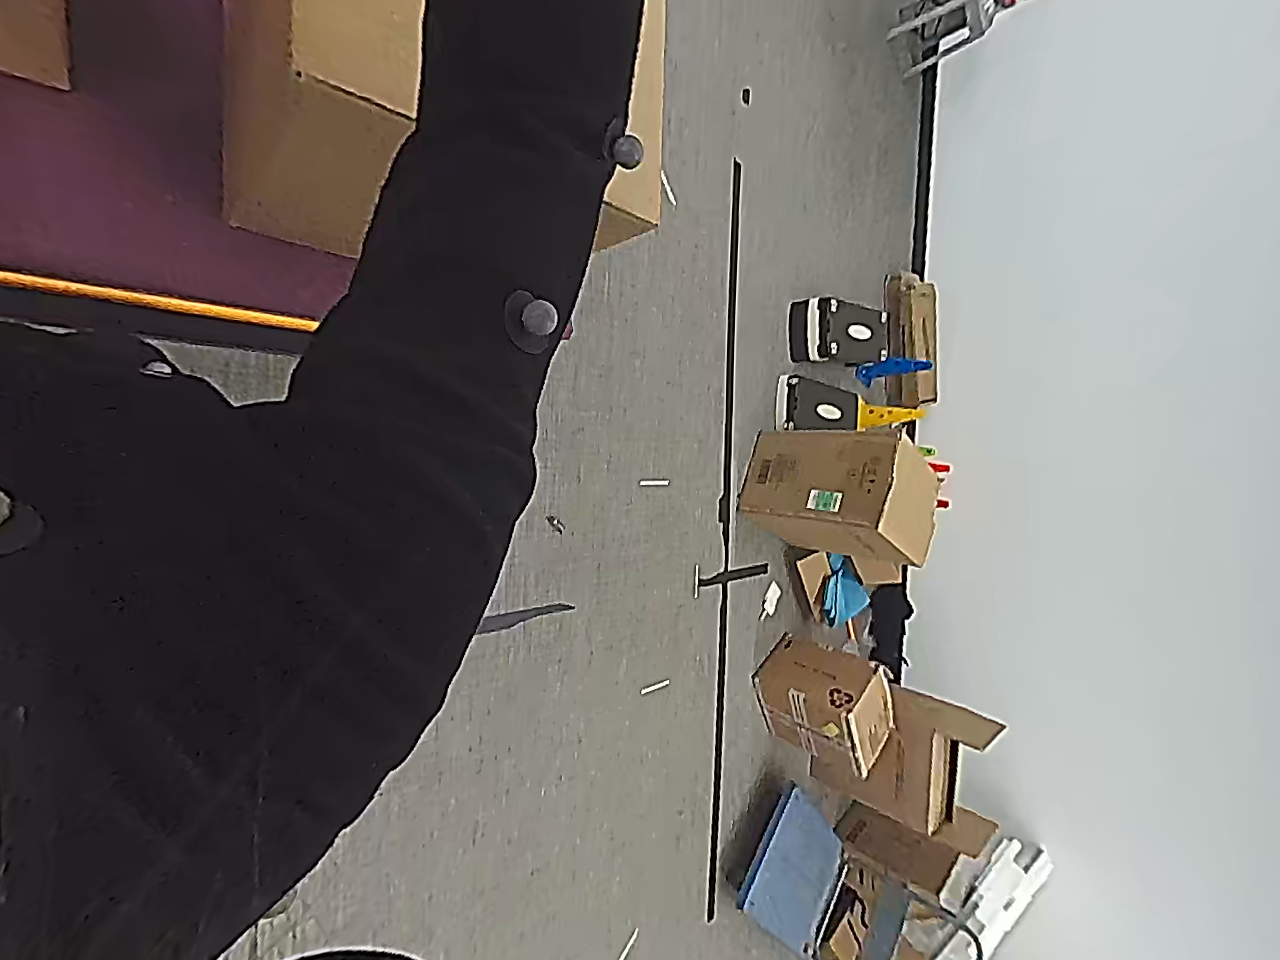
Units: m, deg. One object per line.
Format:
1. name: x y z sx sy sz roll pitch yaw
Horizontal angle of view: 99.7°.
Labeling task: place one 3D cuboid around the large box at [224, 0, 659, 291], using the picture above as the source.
1. large box: -0.195 -0.441 0.524 0.320 0.320 0.408 -2 94 -45
